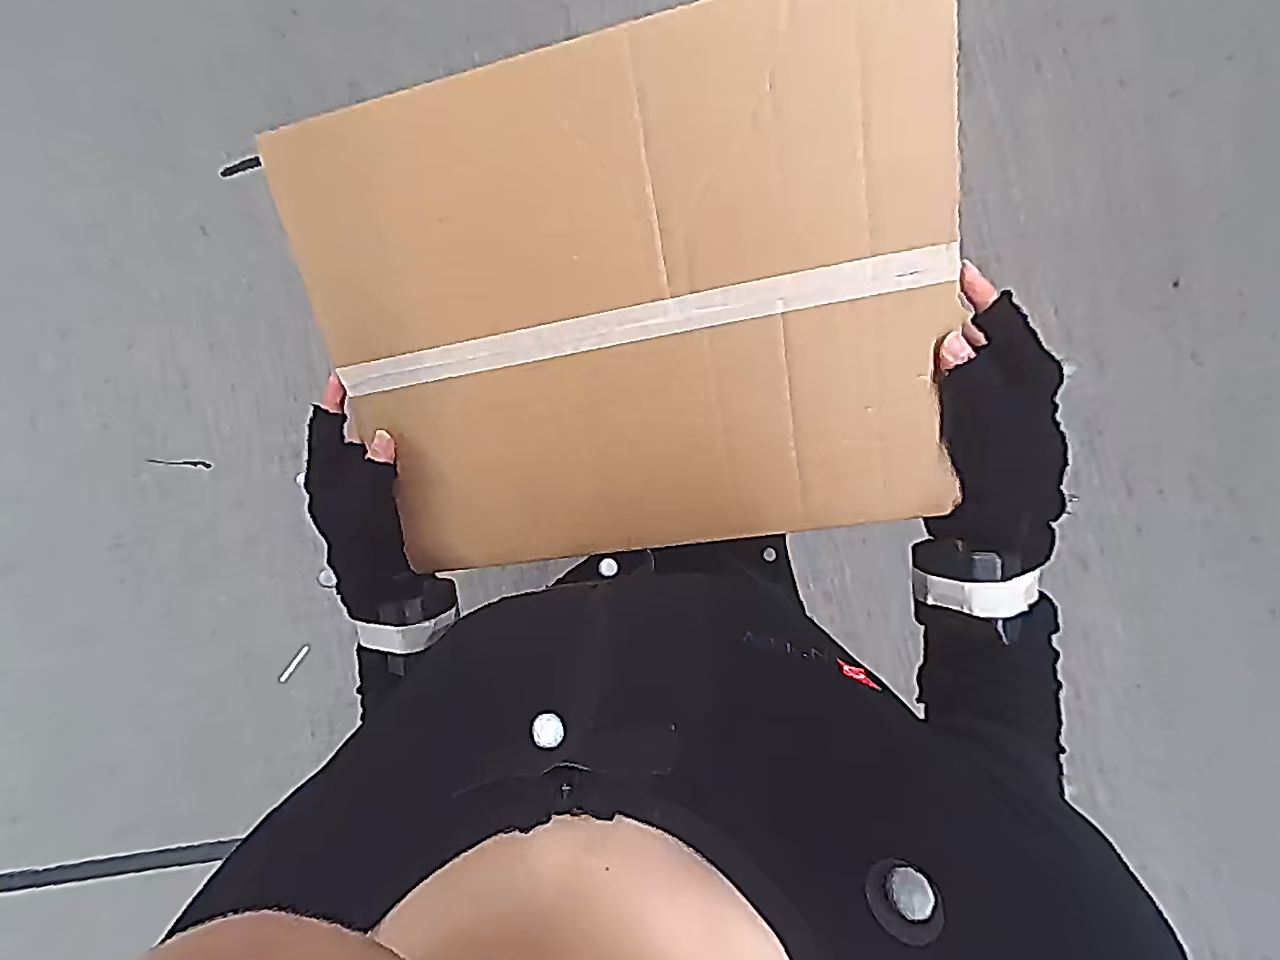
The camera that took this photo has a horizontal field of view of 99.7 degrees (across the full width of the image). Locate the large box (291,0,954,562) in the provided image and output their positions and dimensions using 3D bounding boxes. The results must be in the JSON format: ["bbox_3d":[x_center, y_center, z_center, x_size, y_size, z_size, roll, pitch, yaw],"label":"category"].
[{"bbox_3d":[0.009,-0.151,0.497,0.408,0.320,0.320,-8,109,11],"label":"large box"}]
